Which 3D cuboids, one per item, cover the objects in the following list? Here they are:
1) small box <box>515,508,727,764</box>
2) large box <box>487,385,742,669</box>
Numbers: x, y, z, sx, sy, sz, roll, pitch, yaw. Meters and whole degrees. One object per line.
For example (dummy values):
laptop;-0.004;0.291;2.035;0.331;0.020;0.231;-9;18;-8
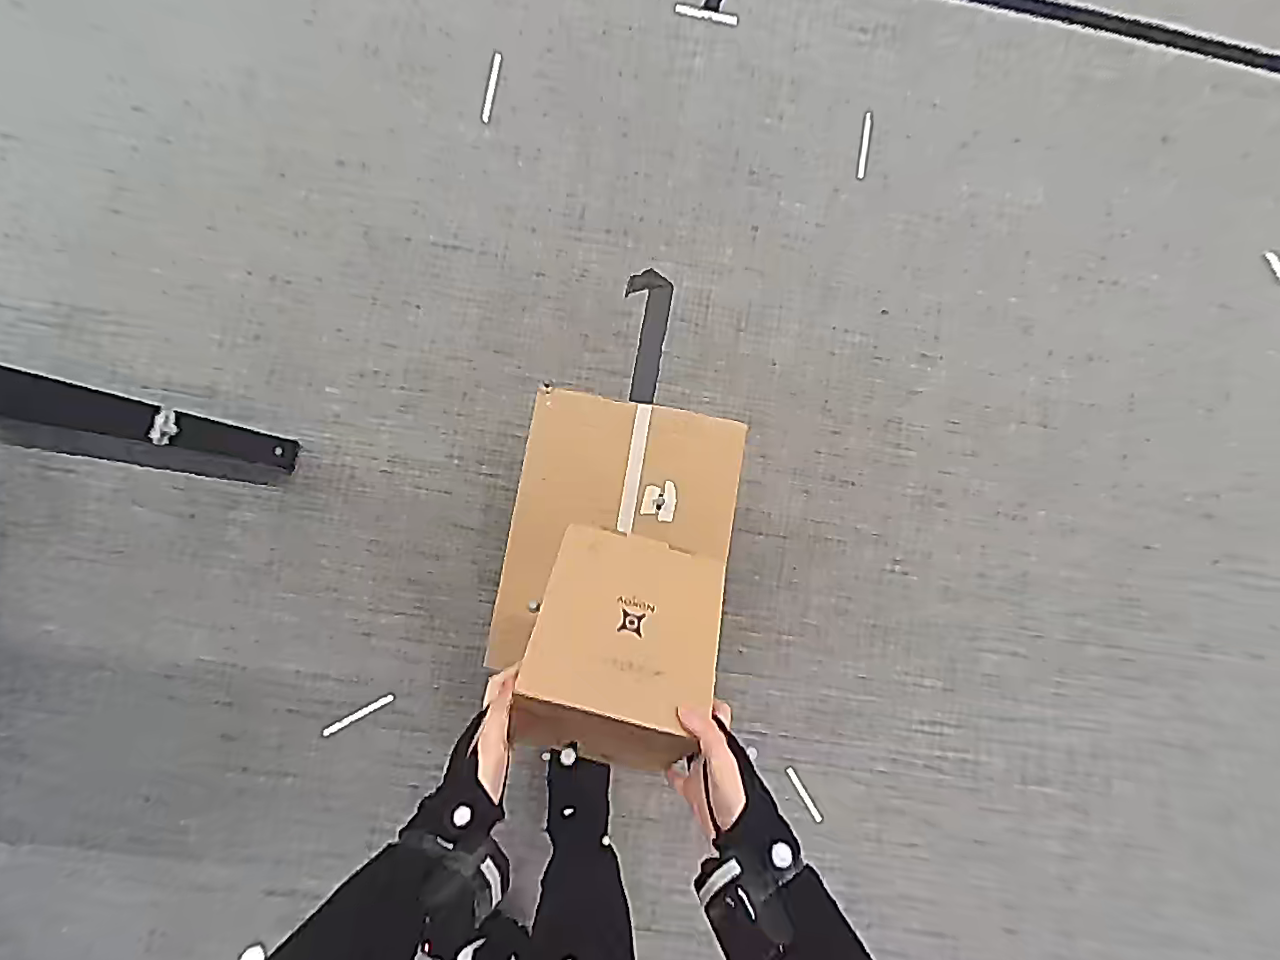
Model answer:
small box;-0.023;0.162;0.548;0.168;0.176;0.179;17;51;-3
large box;-0.040;0.098;0.912;0.320;0.320;0.408;11;83;-4
